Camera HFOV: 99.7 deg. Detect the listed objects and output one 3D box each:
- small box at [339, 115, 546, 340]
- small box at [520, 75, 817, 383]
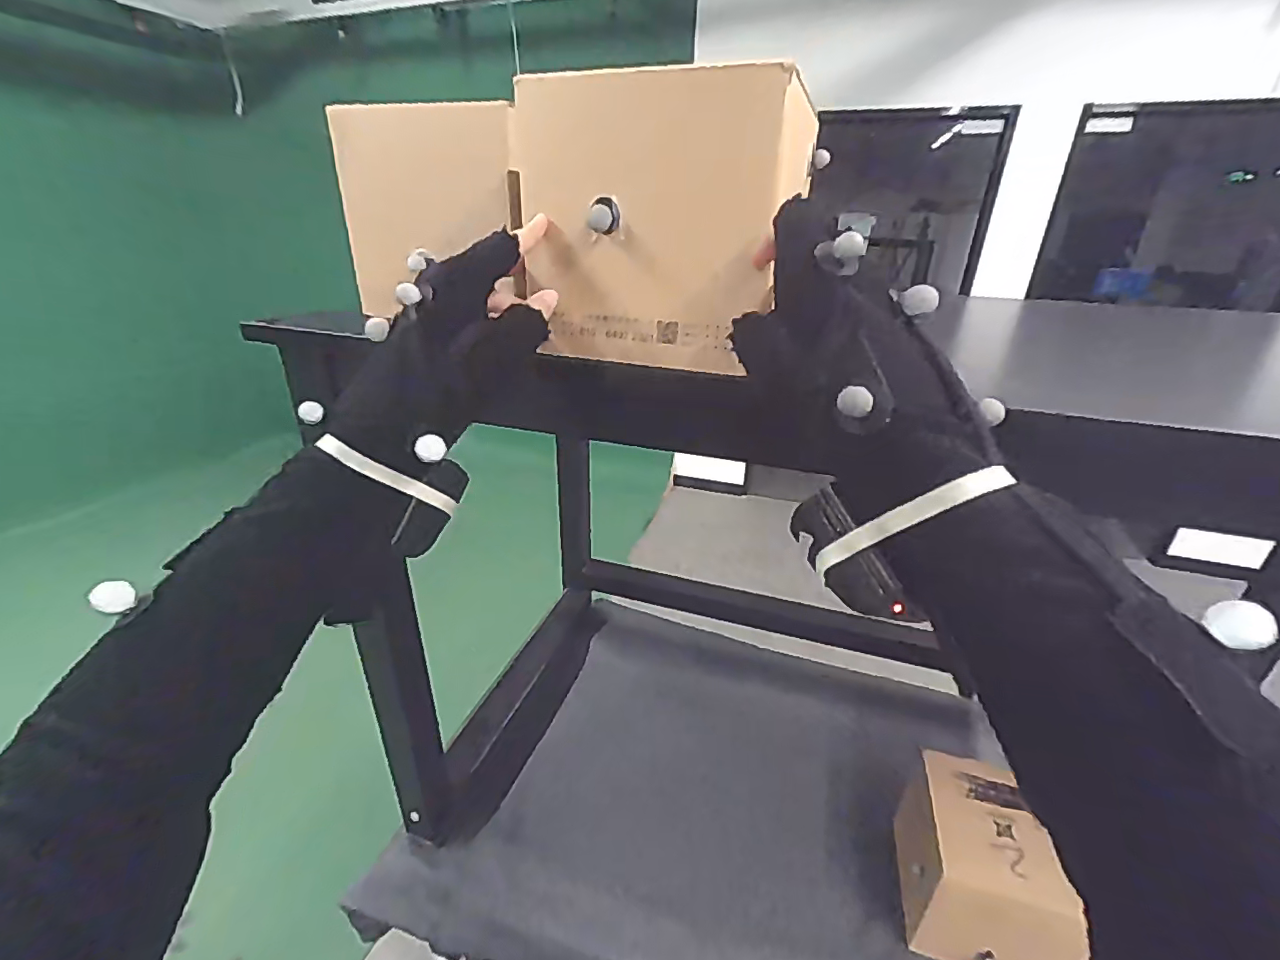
[{"bbox_3d":[-0.150,-0.243,0.528,0.168,0.176,0.179,9,28,15],"label":"small box"},{"bbox_3d":[0.031,-0.178,0.407,0.168,0.176,0.179,10,27,17],"label":"small box"}]
